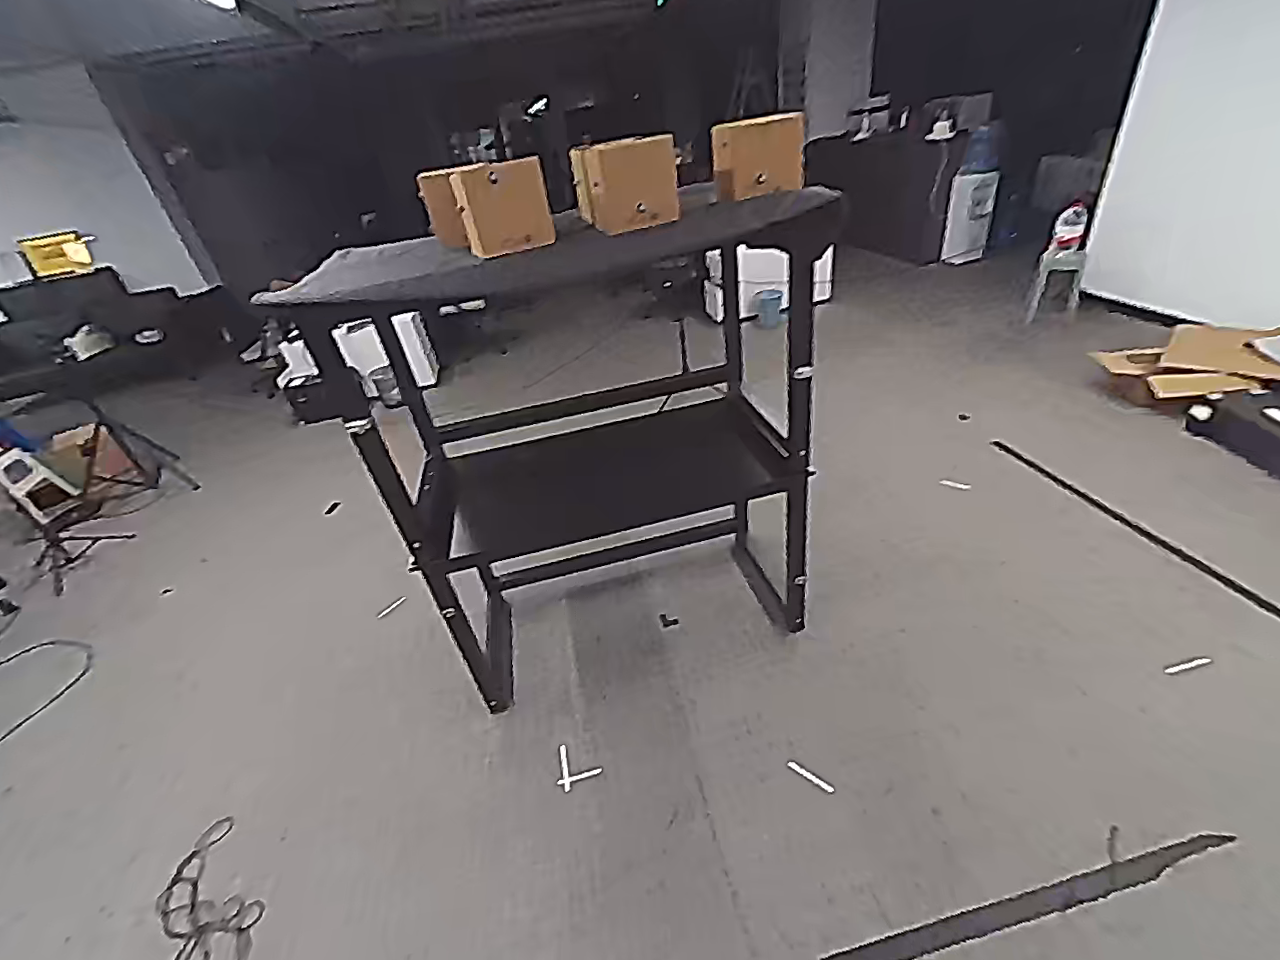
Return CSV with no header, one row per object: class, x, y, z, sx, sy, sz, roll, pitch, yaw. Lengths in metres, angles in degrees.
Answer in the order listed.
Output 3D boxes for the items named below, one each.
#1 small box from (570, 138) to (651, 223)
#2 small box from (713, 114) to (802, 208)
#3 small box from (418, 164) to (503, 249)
small box,-0.075,-0.783,1.416,0.168,0.176,0.179,-15,33,-8
small box,0.276,-0.761,1.294,0.168,0.176,0.179,-11,34,-1
small box,-0.462,-0.713,1.410,0.168,0.176,0.179,-15,35,-8
